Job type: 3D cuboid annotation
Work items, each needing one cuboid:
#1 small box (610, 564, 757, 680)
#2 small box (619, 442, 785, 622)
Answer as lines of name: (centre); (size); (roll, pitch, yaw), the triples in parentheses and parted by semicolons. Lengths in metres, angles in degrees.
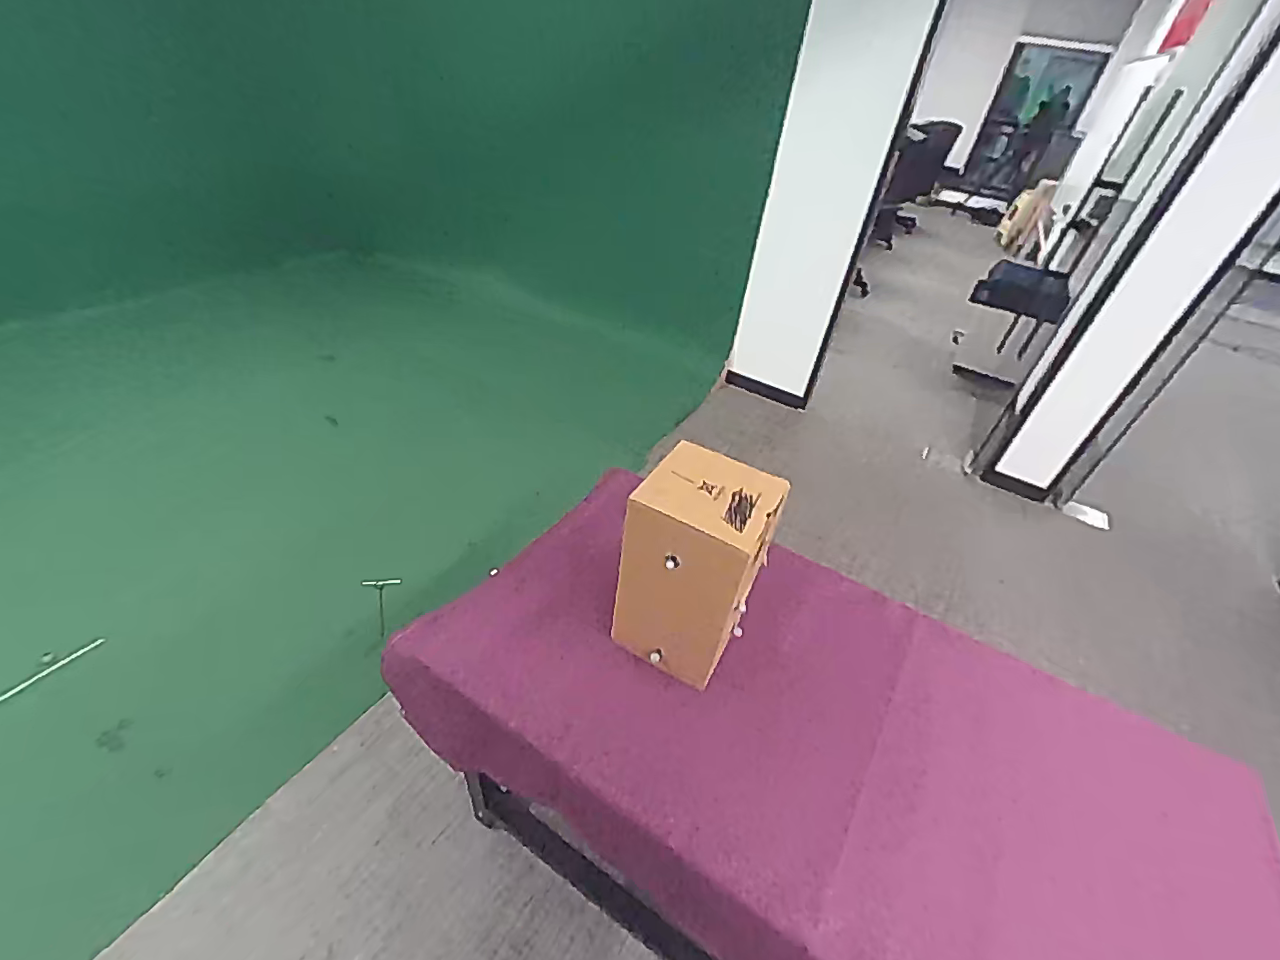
small box: (0.067, 0.202, 0.897); (0.179, 0.176, 0.168); (25, 43, 18)
small box: (0.085, 0.078, 0.790); (0.179, 0.176, 0.168); (24, 43, 19)
